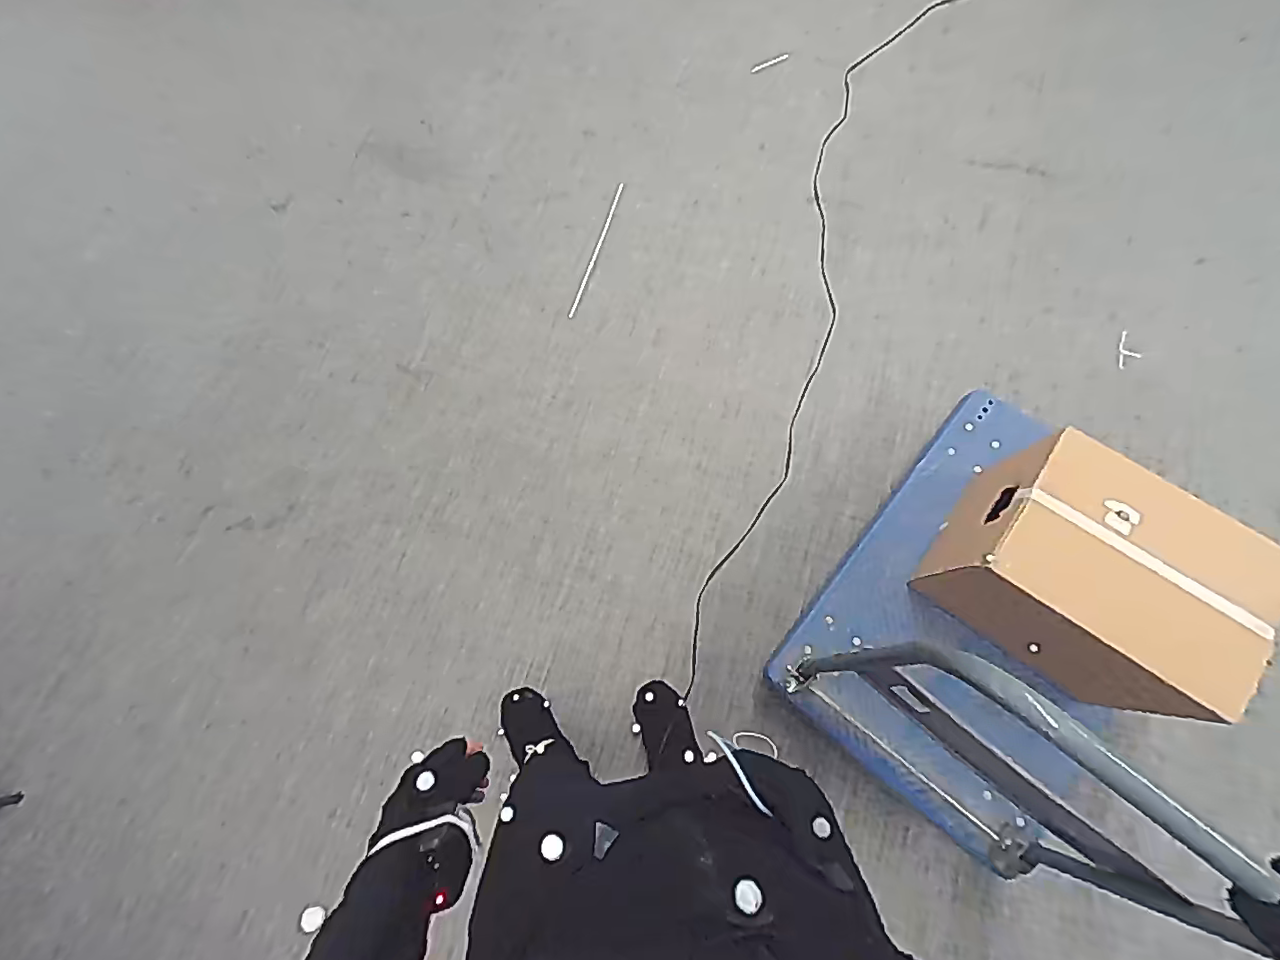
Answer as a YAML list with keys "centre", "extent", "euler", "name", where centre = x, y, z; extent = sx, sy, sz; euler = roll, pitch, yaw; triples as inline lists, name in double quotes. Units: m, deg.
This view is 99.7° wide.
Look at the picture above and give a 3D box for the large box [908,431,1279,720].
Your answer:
- centre: [0.816, 0.180, 1.022]
  extent: [0.408, 0.320, 0.320]
  euler: [35, 77, 12]
  name: "large box"
